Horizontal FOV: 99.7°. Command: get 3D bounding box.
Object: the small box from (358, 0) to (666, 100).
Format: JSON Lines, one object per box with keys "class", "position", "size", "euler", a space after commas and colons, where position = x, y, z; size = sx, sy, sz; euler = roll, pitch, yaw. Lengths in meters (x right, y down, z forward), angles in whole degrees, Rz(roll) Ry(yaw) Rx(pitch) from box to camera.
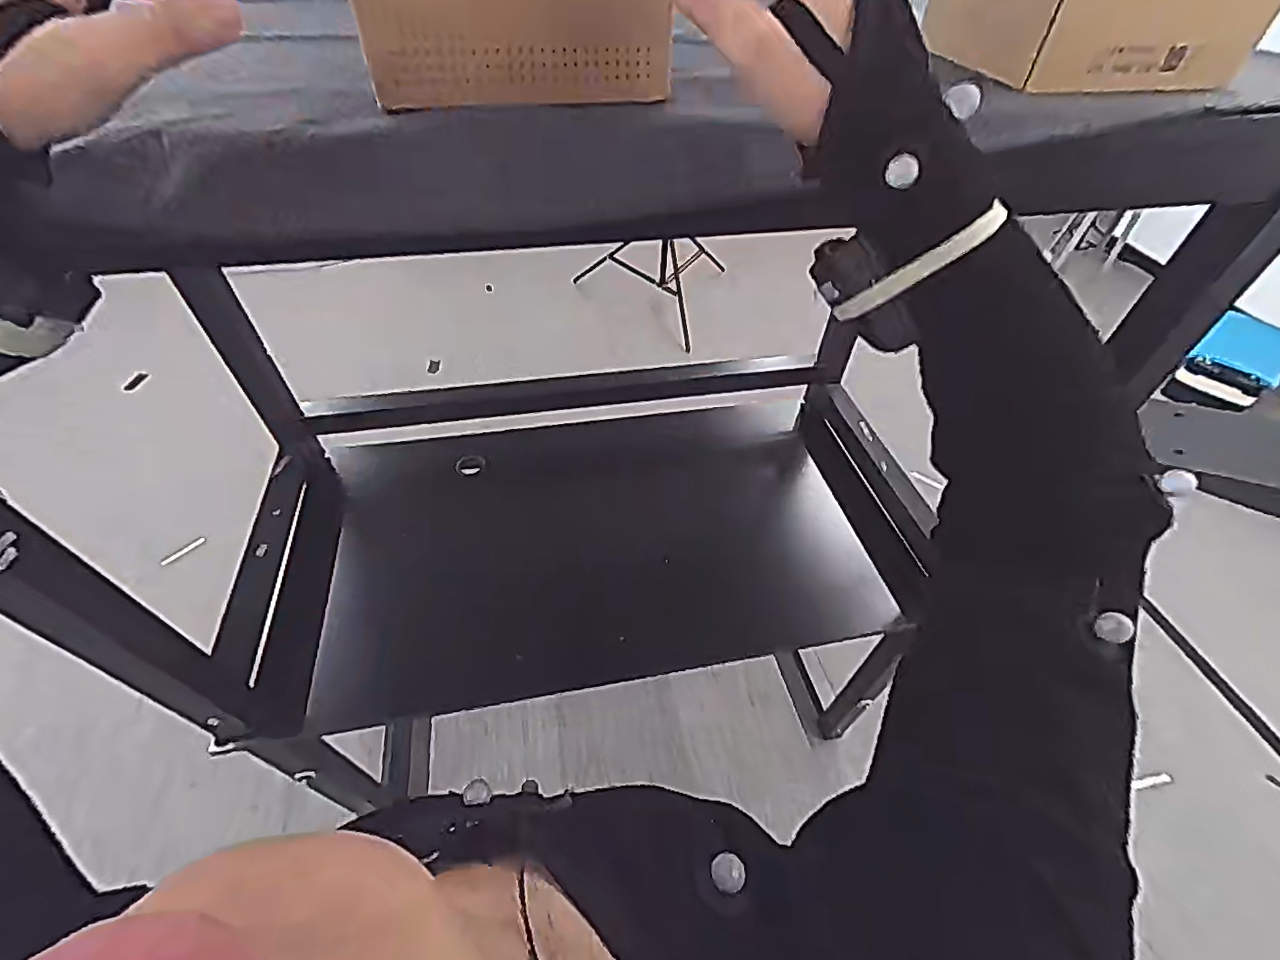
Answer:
{"class": "small box", "position": [-0.082, -0.343, 0.323], "size": [0.179, 0.176, 0.168], "euler": [-9, 47, -11]}
